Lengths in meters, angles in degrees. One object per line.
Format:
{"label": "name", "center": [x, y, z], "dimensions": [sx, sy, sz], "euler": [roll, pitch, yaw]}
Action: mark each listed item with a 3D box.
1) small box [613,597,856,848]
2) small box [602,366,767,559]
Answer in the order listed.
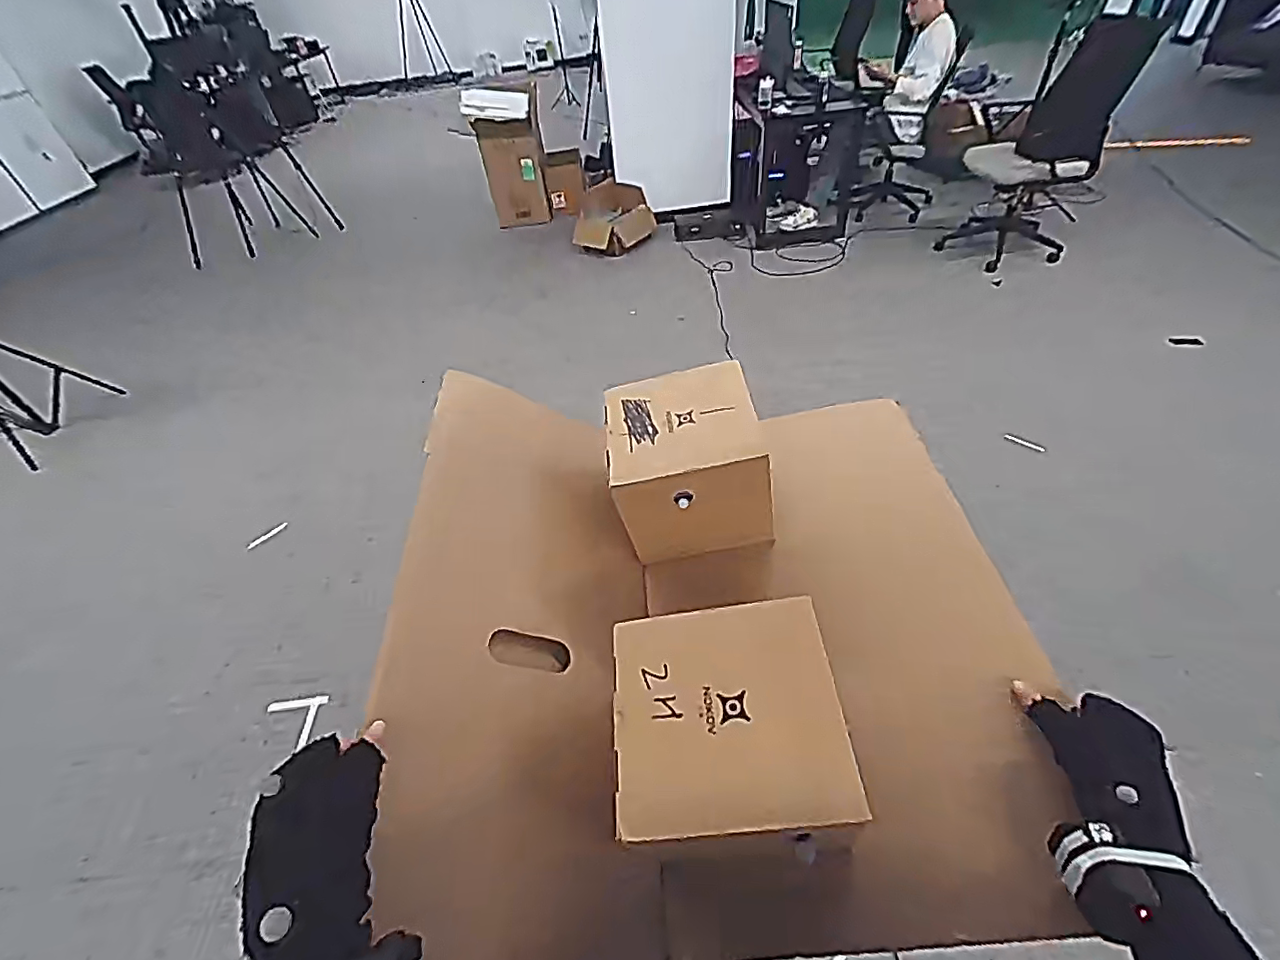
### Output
{"label": "small box", "center": [0.080, 0.227, 0.494], "dimensions": [0.179, 0.176, 0.168], "euler": [-11, 49, 9]}
{"label": "small box", "center": [0.059, -0.016, 0.702], "dimensions": [0.179, 0.176, 0.168], "euler": [-12, 49, 7]}
